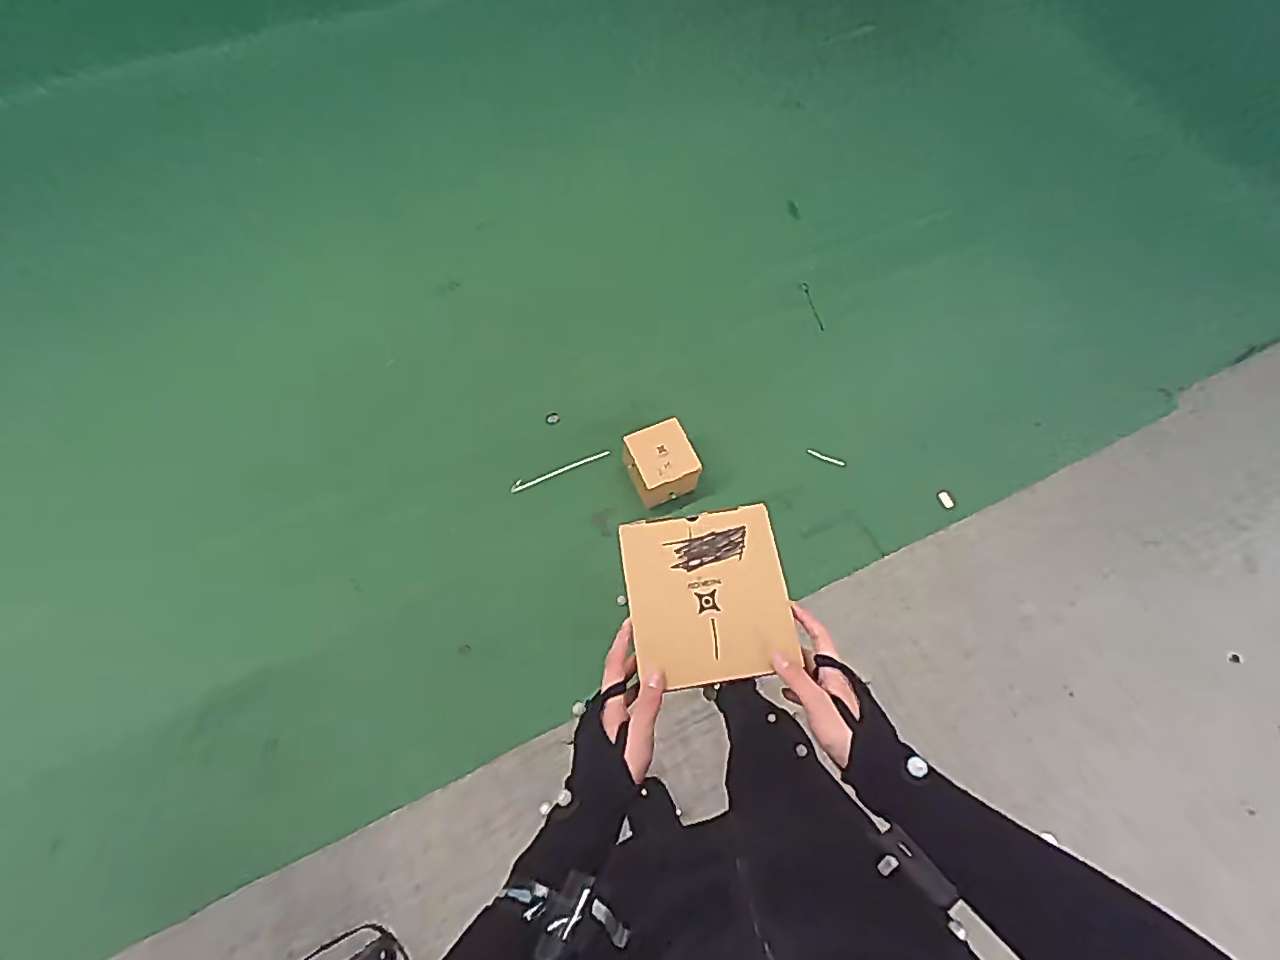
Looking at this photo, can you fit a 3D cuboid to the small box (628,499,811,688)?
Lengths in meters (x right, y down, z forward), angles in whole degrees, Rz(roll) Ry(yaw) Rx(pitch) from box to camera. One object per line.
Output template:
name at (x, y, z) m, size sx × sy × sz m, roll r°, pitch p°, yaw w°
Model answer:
small box at (0.078, 0.140, 0.632) m, size 0.168 × 0.176 × 0.179 m, roll -8°, pitch 69°, yaw -2°

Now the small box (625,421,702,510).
small box at (0.060, -0.038, 1.570) m, size 0.168 × 0.176 × 0.179 m, roll -21°, pitch 70°, yaw -11°
